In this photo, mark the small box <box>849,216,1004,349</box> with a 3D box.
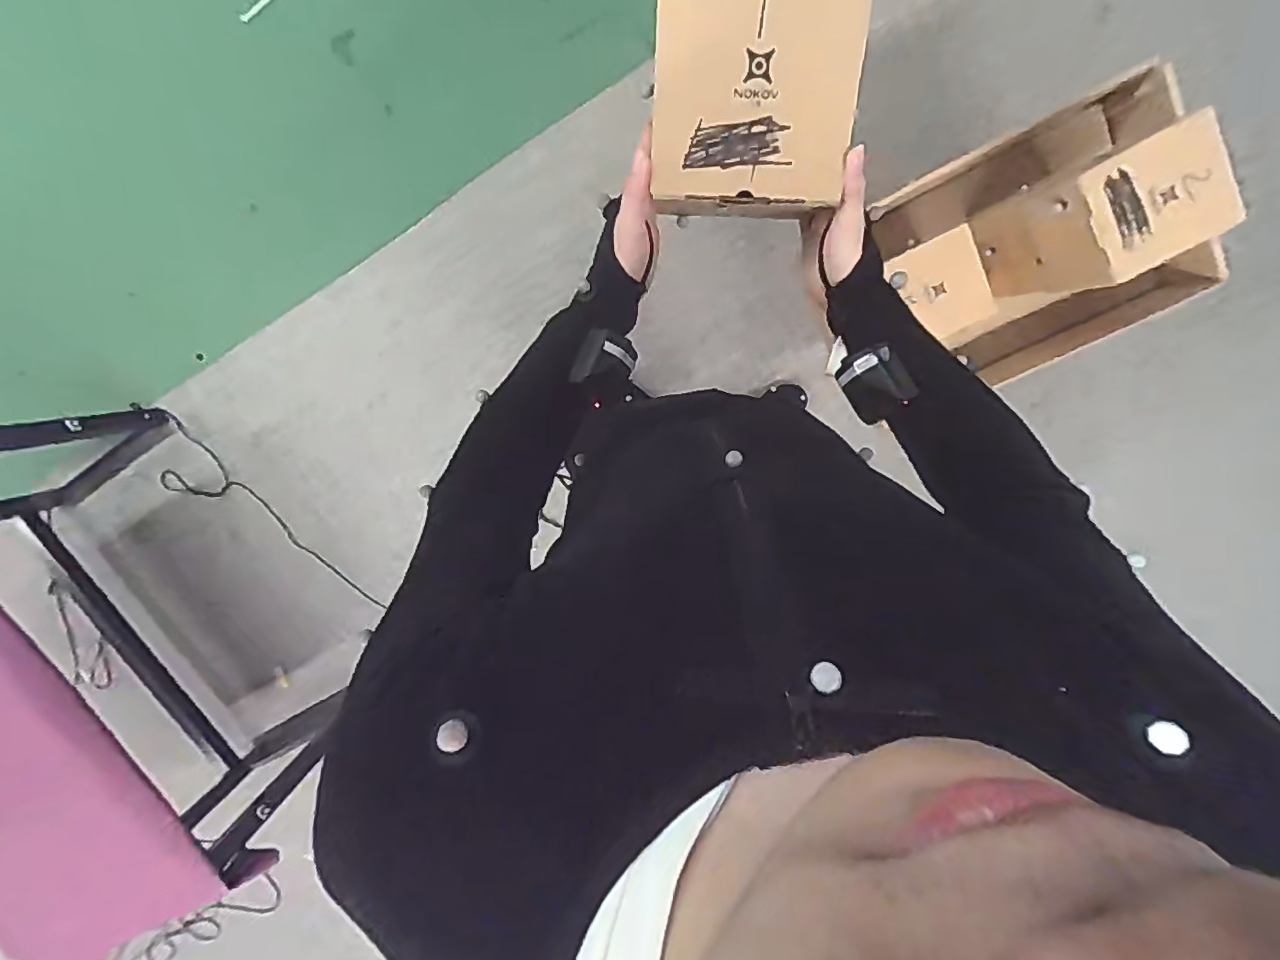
[{"bbox_3d":[0.522,-0.357,1.007,0.179,0.176,0.168,-25,100,9],"label":"small box"}]

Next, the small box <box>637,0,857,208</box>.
[{"bbox_3d":[0.087,-0.355,0.501,0.168,0.176,0.179,2,112,2],"label":"small box"}]

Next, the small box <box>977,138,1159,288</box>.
[{"bbox_3d":[0.750,-0.463,0.967,0.179,0.176,0.168,-26,101,13],"label":"small box"}]
